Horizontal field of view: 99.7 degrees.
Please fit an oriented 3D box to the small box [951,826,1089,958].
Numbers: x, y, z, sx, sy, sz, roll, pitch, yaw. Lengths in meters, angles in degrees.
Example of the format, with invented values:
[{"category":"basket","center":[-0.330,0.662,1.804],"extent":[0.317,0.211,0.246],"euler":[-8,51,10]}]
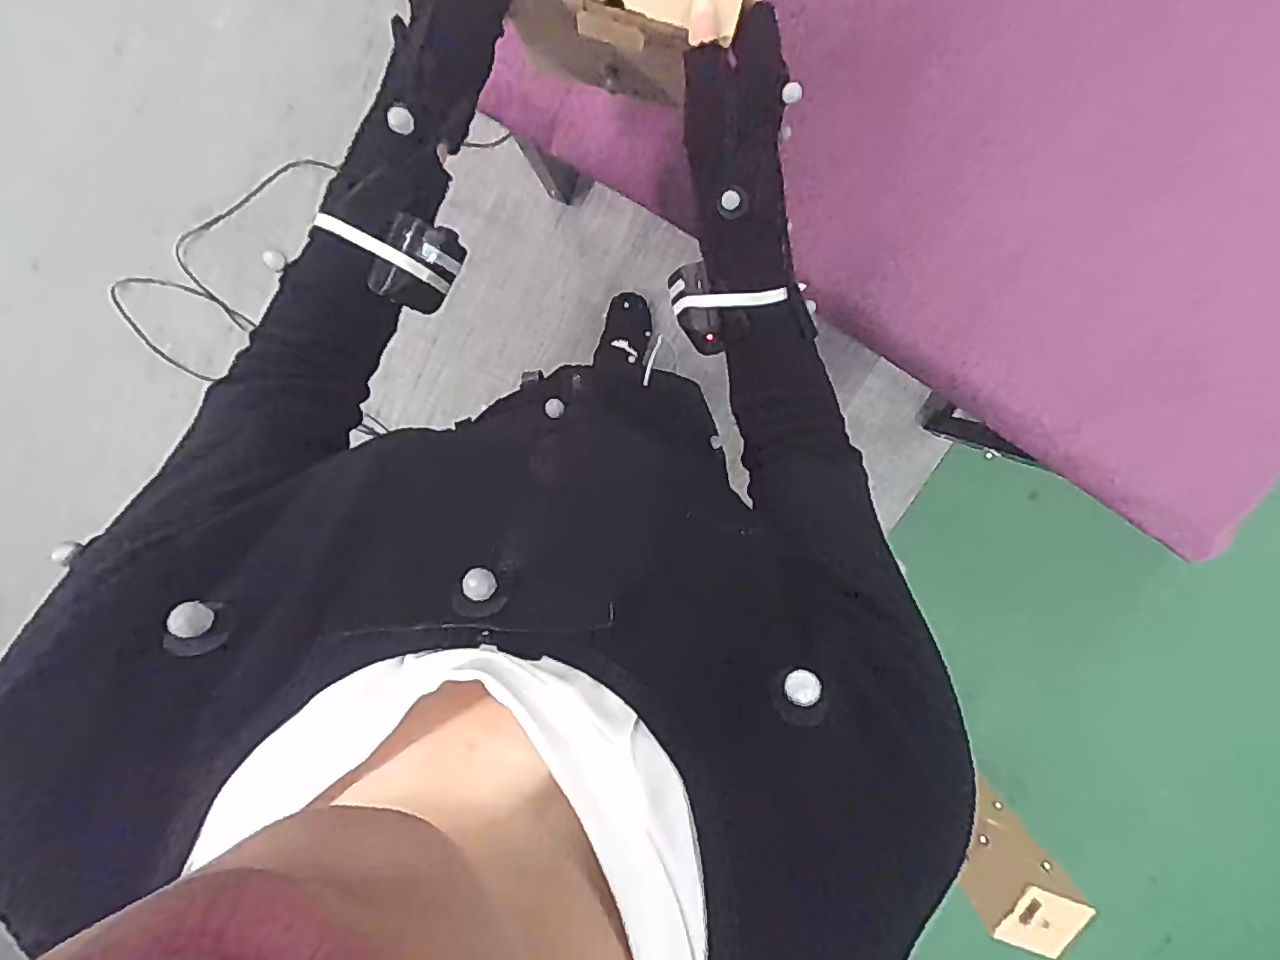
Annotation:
[{"category":"small box","center":[0.898,0.978,1.299],"extent":[0.179,0.176,0.168],"euler":[24,104,-7]}]
